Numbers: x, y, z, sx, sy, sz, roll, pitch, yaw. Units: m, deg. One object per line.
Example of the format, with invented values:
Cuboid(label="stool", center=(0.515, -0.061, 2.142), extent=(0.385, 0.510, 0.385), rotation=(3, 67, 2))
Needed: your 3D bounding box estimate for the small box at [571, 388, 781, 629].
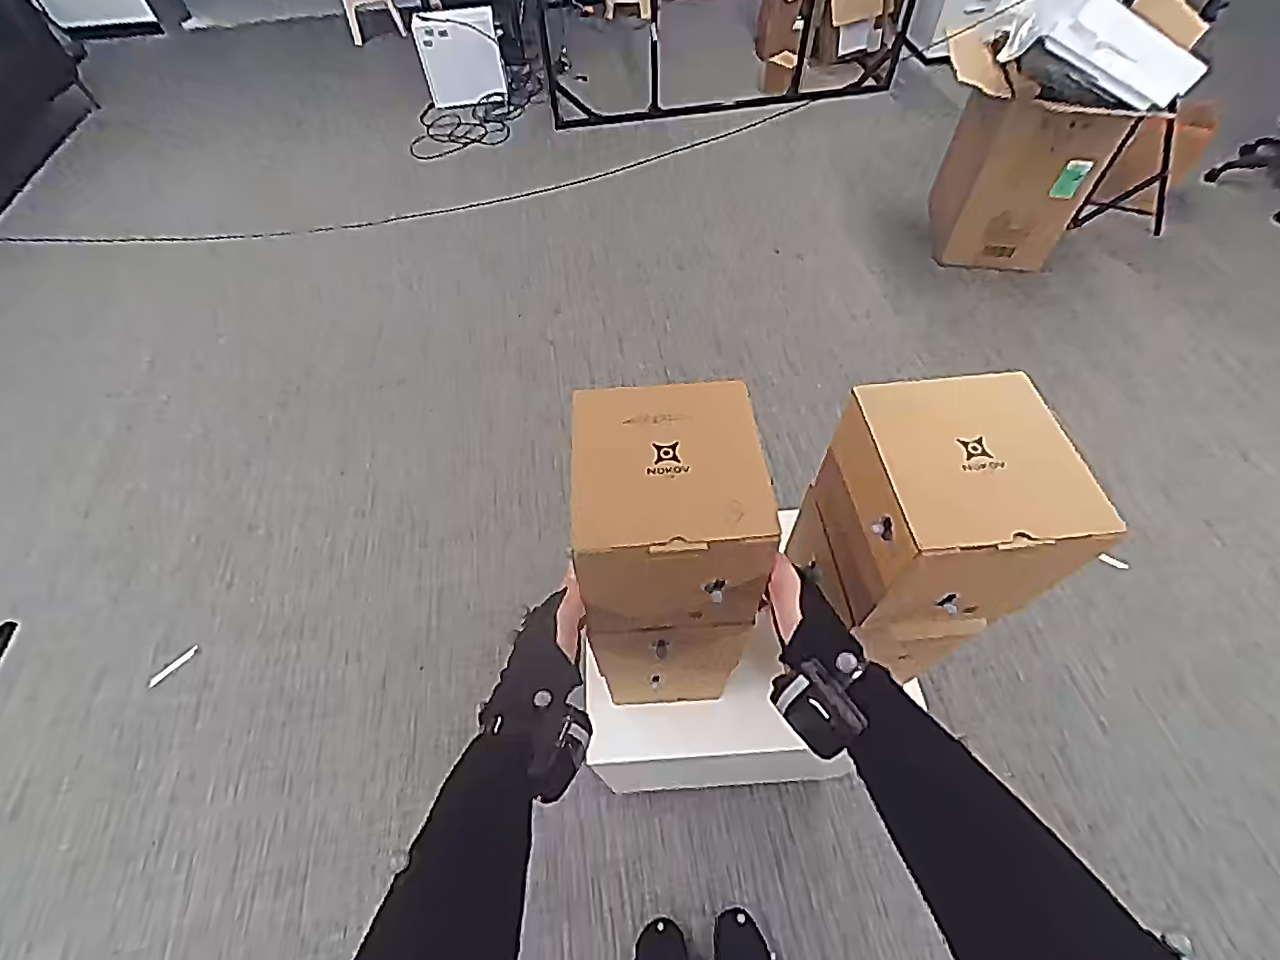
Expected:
Cuboid(label="small box", center=(0.028, 0.035, 0.526), extent=(0.168, 0.176, 0.179), rotation=(-4, 54, -1))

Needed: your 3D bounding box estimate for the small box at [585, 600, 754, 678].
Cuboid(label="small box", center=(0.031, 0.135, 0.657), extent=(0.179, 0.176, 0.168), rotation=(-3, 56, 0))

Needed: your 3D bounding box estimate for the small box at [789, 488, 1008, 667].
Cuboid(label="small box", center=(0.292, 0.119, 0.658), extent=(0.168, 0.176, 0.179), rotation=(-5, 55, -1))

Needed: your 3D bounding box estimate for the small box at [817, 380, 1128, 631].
Cuboid(label="small box", center=(0.287, 0.029, 0.522), extent=(0.168, 0.176, 0.179), rotation=(-5, 56, -1))

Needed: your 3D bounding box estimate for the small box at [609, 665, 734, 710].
Cuboid(label="small box", center=(0.037, 0.225, 0.796), extent=(0.168, 0.176, 0.179), rotation=(-3, 55, 0))
